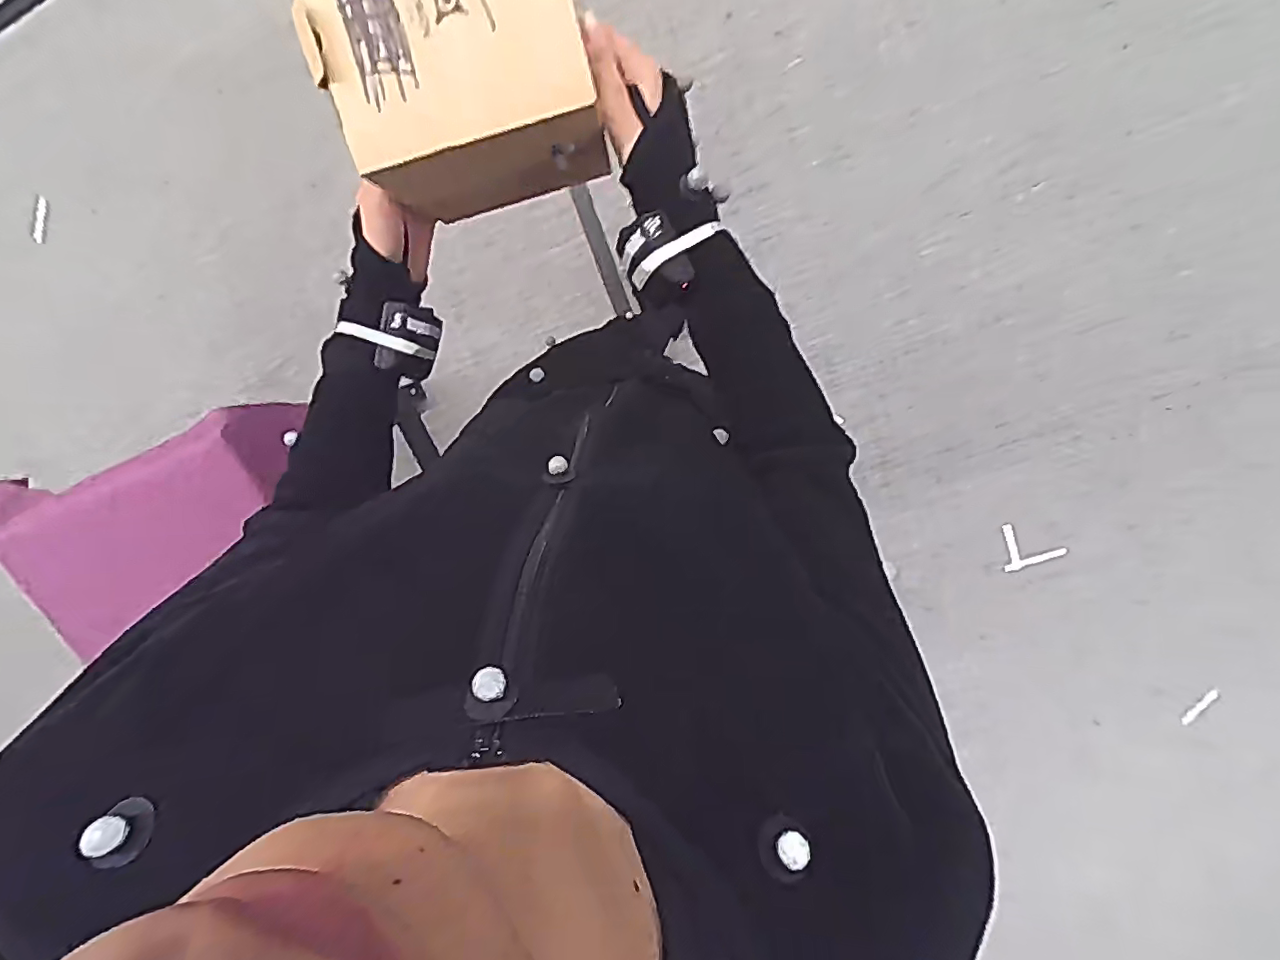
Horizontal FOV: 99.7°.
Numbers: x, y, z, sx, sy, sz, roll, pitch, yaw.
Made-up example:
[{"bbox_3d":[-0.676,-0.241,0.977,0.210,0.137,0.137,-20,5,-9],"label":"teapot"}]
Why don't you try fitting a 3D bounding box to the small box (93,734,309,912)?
[{"bbox_3d":[-0.693,0.547,0.876,0.179,0.176,0.168,-18,107,11],"label":"small box"}]
